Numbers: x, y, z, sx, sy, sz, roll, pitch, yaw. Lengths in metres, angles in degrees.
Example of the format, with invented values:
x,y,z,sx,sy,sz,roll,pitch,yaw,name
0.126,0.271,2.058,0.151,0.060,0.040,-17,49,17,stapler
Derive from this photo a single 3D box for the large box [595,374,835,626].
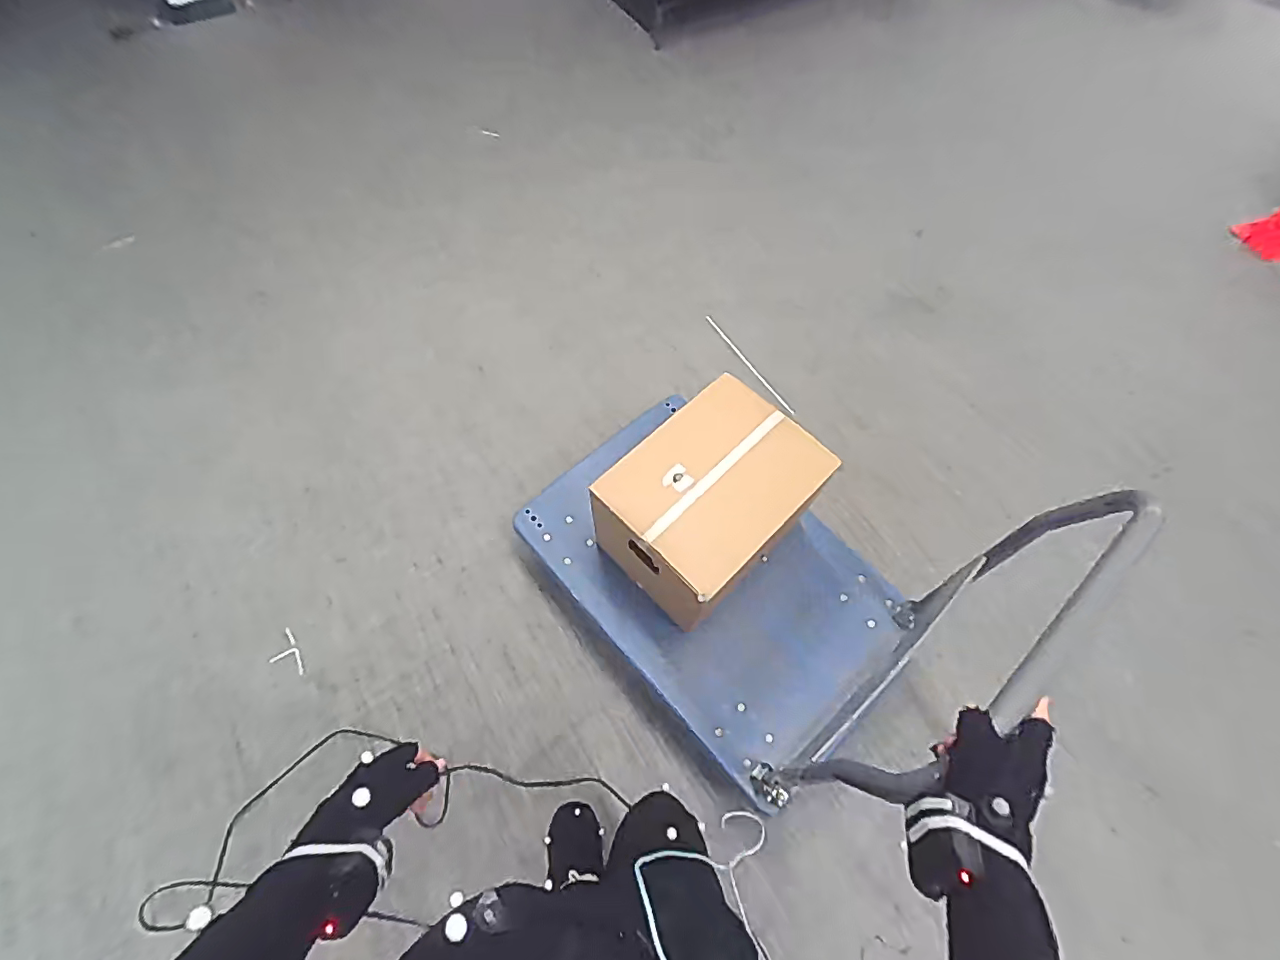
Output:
x,y,z,sx,sy,sz,roll,pitch,yaw,name
0.151,0.052,1.202,0.320,0.320,0.408,41,71,17,large box
